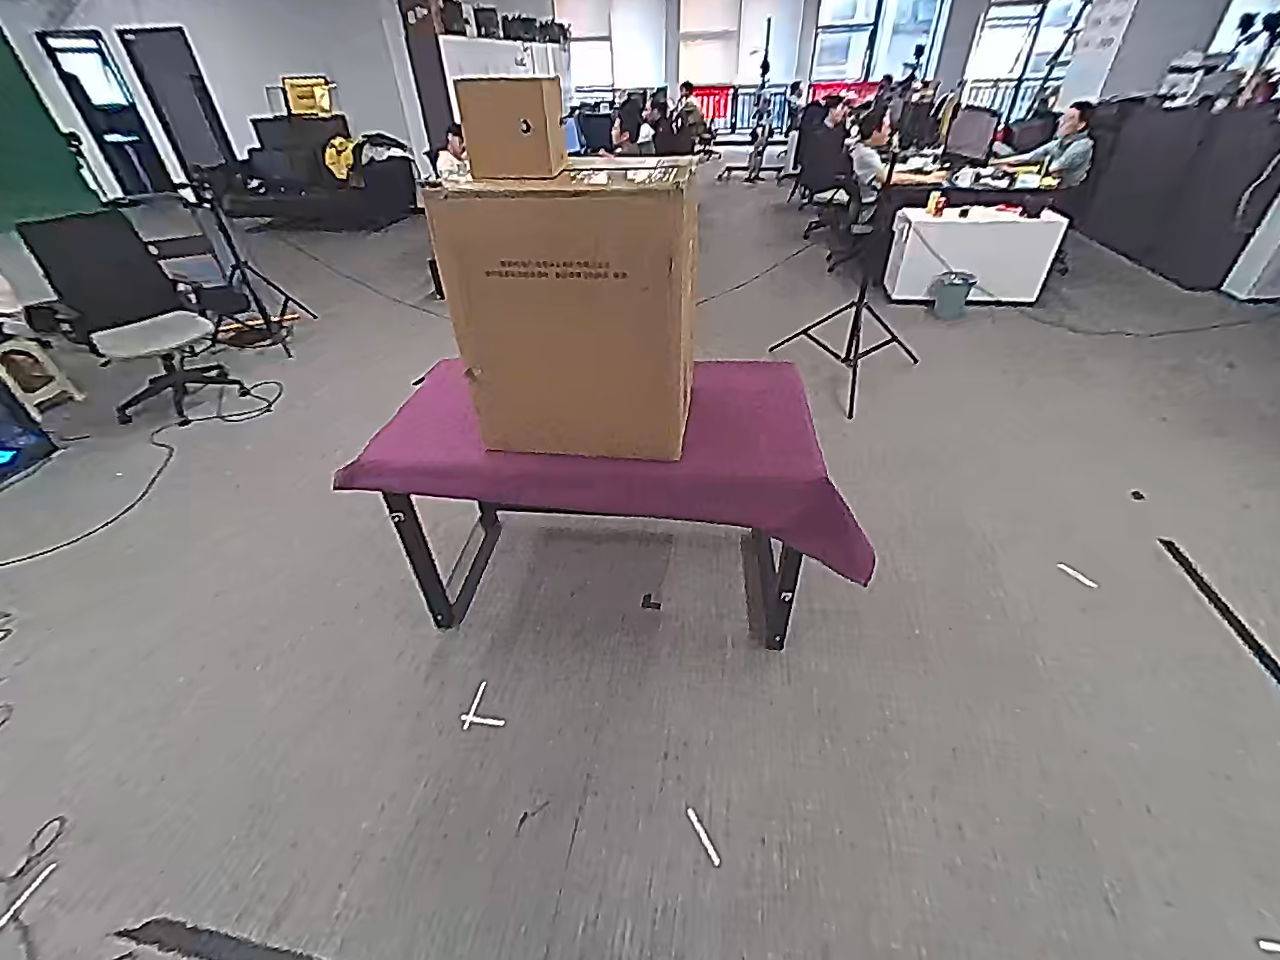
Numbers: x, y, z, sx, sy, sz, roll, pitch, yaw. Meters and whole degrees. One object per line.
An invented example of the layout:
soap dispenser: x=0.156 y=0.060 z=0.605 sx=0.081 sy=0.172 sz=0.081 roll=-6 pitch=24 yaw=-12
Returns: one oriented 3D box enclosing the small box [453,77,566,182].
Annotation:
small box: x=-0.257 y=-0.727 z=1.120 sx=0.179 sy=0.176 sz=0.168 roll=1 pitch=37 yaw=5
